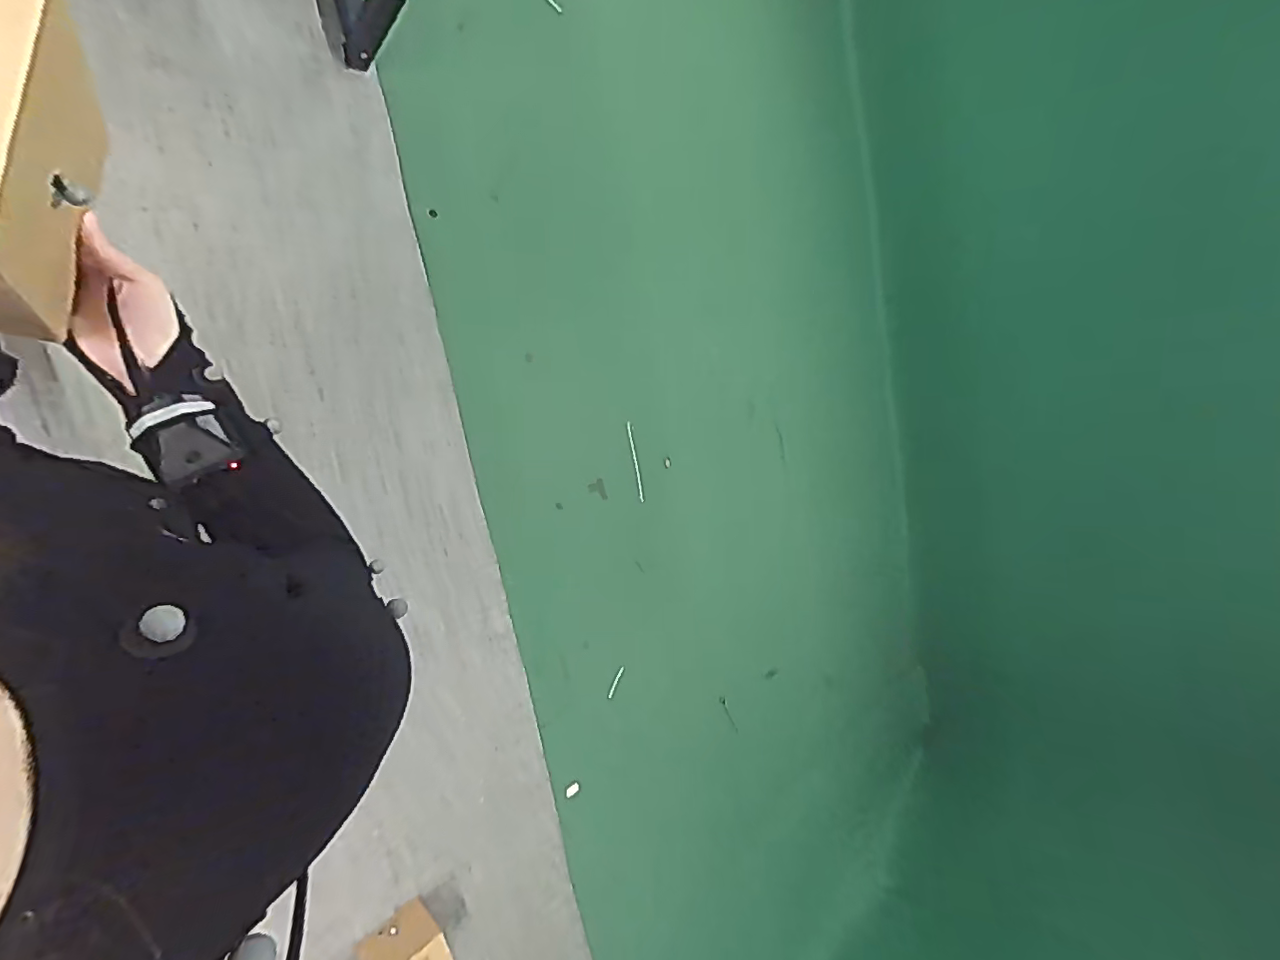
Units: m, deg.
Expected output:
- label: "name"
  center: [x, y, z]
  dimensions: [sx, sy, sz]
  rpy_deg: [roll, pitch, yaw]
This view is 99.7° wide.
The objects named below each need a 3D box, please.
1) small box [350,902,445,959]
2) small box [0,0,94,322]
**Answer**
- label: "small box"
  center: [-0.606, 1.240, 1.374]
  dimensions: [0.168, 0.176, 0.179]
  rpy_deg: [-24, 106, -42]
- label: "small box"
  center: [-0.436, -0.212, 0.294]
  dimensions: [0.168, 0.176, 0.179]
  rpy_deg: [10, 81, -37]
